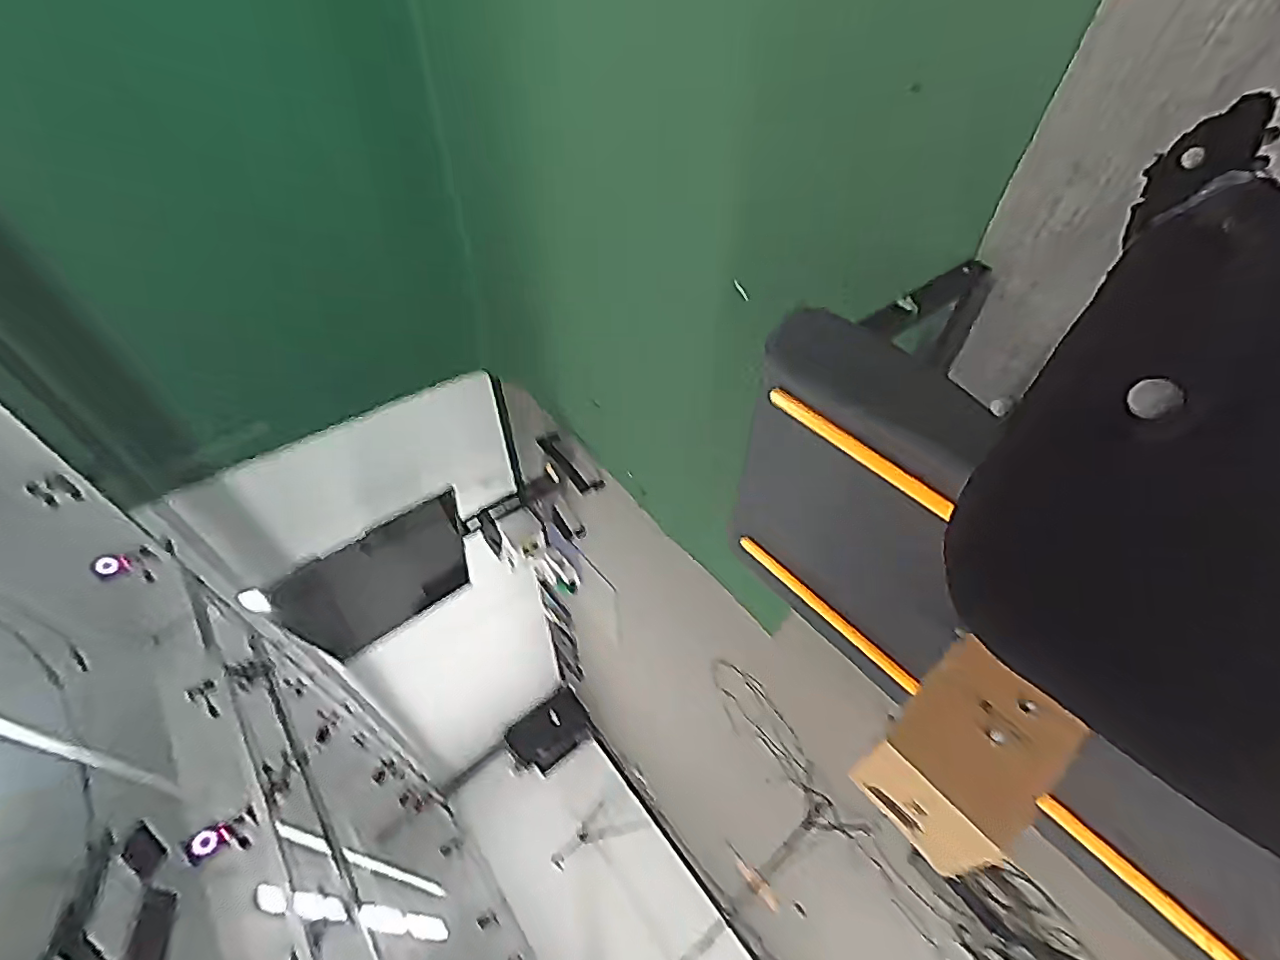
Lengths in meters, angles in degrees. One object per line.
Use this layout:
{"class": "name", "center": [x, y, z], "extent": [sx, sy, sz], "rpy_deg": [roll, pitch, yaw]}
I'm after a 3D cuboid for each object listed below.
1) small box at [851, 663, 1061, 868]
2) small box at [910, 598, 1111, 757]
{"class": "small box", "center": [0.437, 0.396, 0.760], "extent": [0.168, 0.176, 0.179], "rpy_deg": [43, 150, 31]}
{"class": "small box", "center": [0.563, 0.318, 0.831], "extent": [0.168, 0.176, 0.179], "rpy_deg": [42, 151, 30]}
